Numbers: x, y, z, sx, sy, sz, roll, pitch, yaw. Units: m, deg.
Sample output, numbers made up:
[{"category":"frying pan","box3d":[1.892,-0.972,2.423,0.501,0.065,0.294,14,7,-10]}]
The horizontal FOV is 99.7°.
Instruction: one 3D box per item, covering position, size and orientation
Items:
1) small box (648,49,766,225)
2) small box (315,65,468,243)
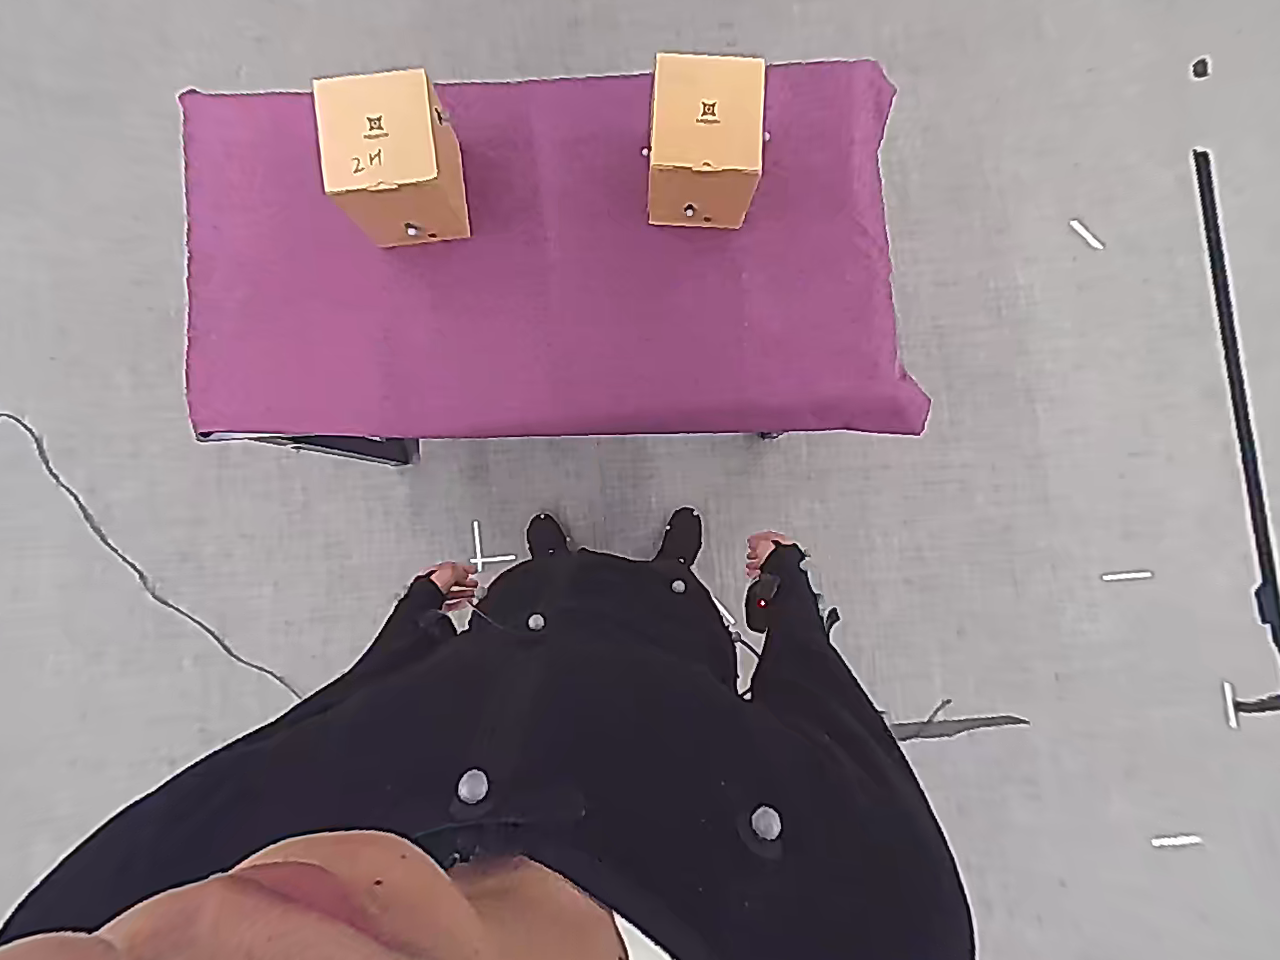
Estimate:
[{"category":"small box","box3d":[0.101,-0.544,0.877,0.168,0.176,0.179,2,88,-1]},{"category":"small box","box3d":[-0.386,-0.510,0.864,0.168,0.176,0.179,-7,87,-1]}]
